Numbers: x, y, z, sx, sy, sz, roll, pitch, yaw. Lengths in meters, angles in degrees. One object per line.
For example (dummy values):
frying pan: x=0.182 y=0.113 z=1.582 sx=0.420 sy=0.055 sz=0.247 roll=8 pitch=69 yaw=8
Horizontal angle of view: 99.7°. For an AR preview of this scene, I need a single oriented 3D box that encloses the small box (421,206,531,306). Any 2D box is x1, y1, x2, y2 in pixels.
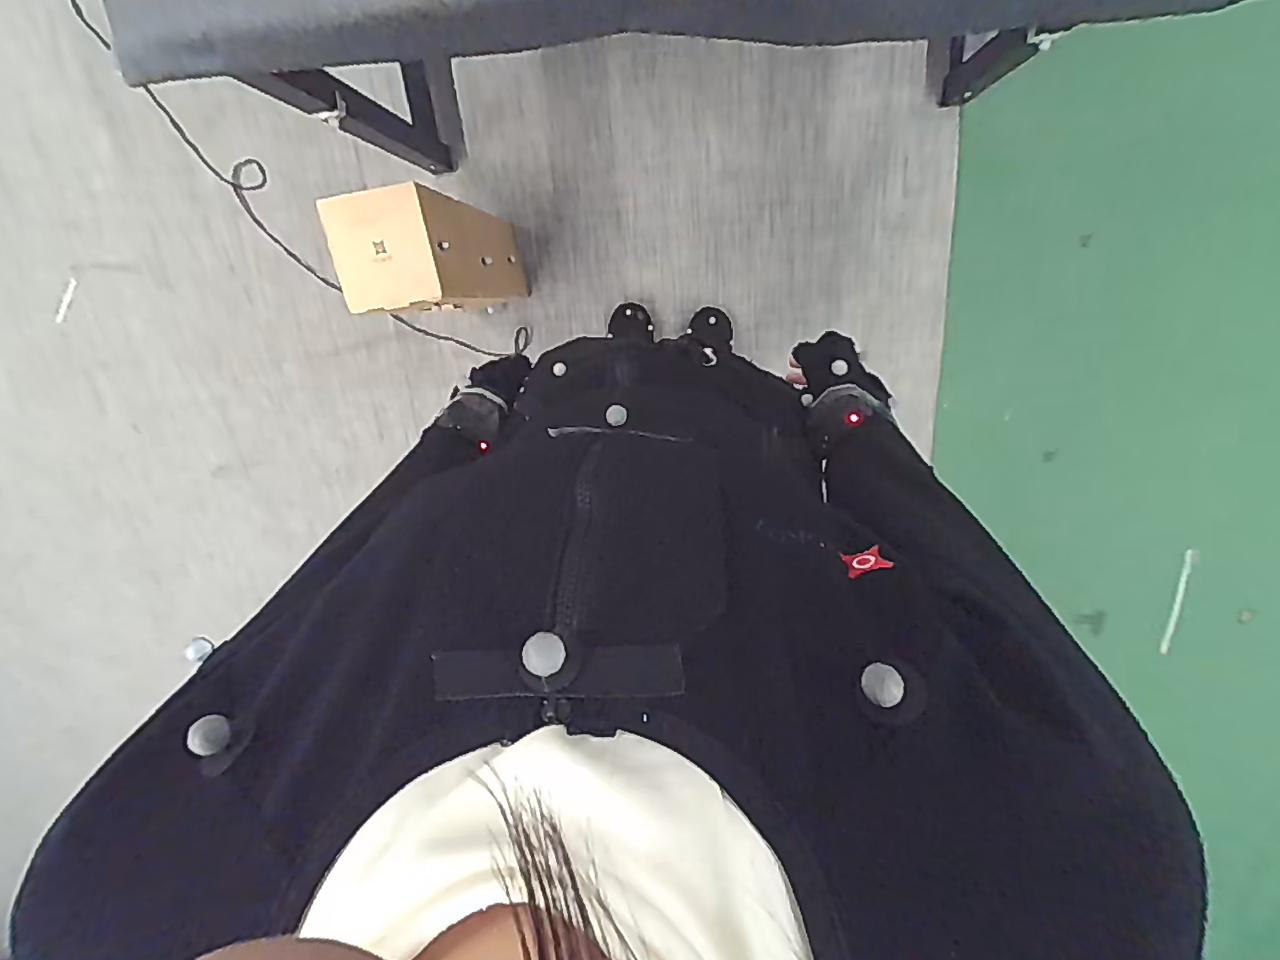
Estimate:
small box: x=-0.366 y=-0.503 z=1.239 sx=0.168 sy=0.176 sz=0.179 roll=-10 pitch=108 yaw=9
